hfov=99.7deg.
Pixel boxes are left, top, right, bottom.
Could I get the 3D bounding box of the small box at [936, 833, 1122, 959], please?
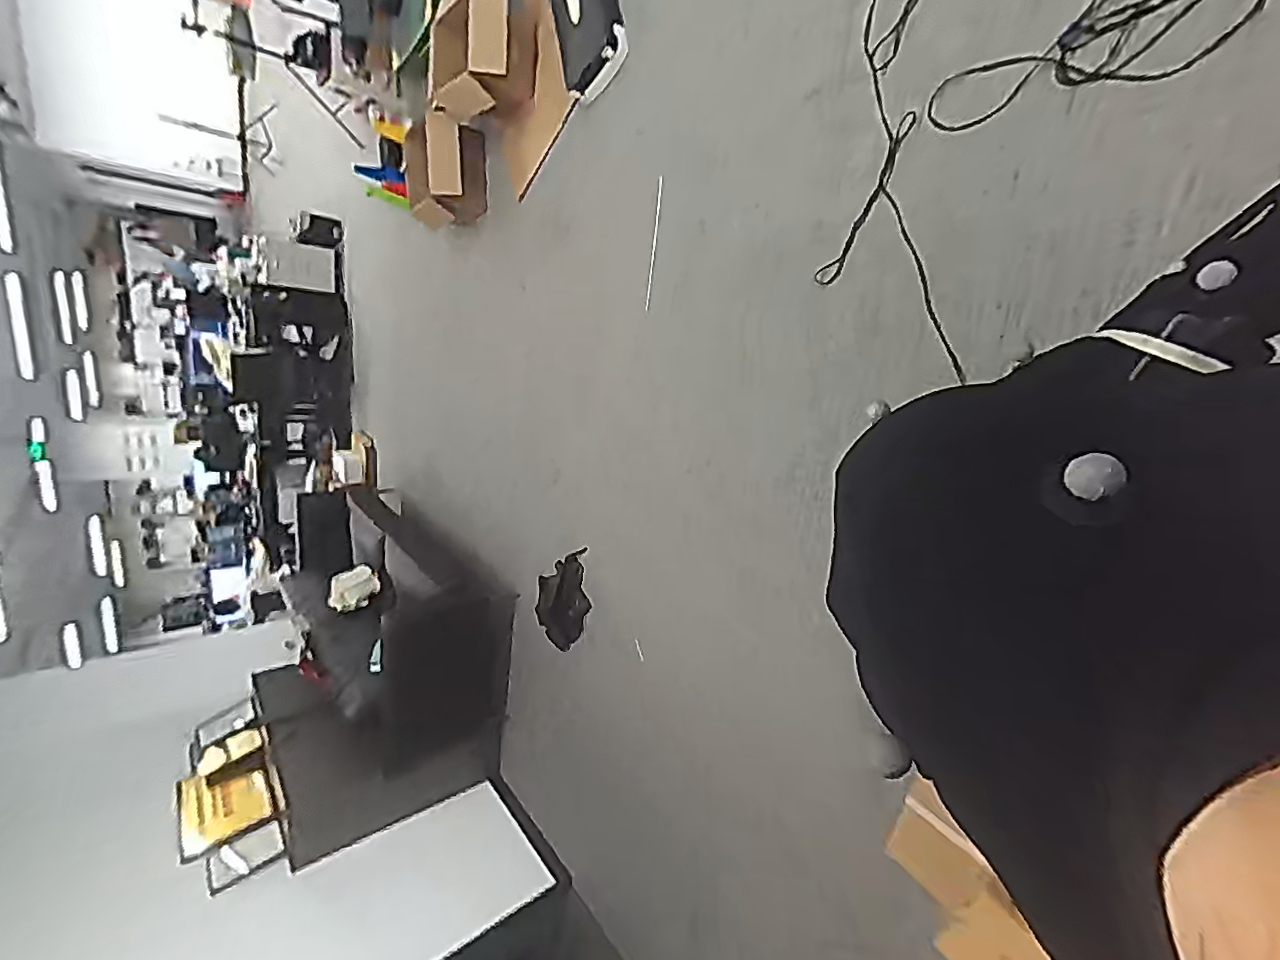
[{"bbox_3d":[0.638,0.738,0.889,0.179,0.176,0.168,38,123,41],"label":"small box"}]
